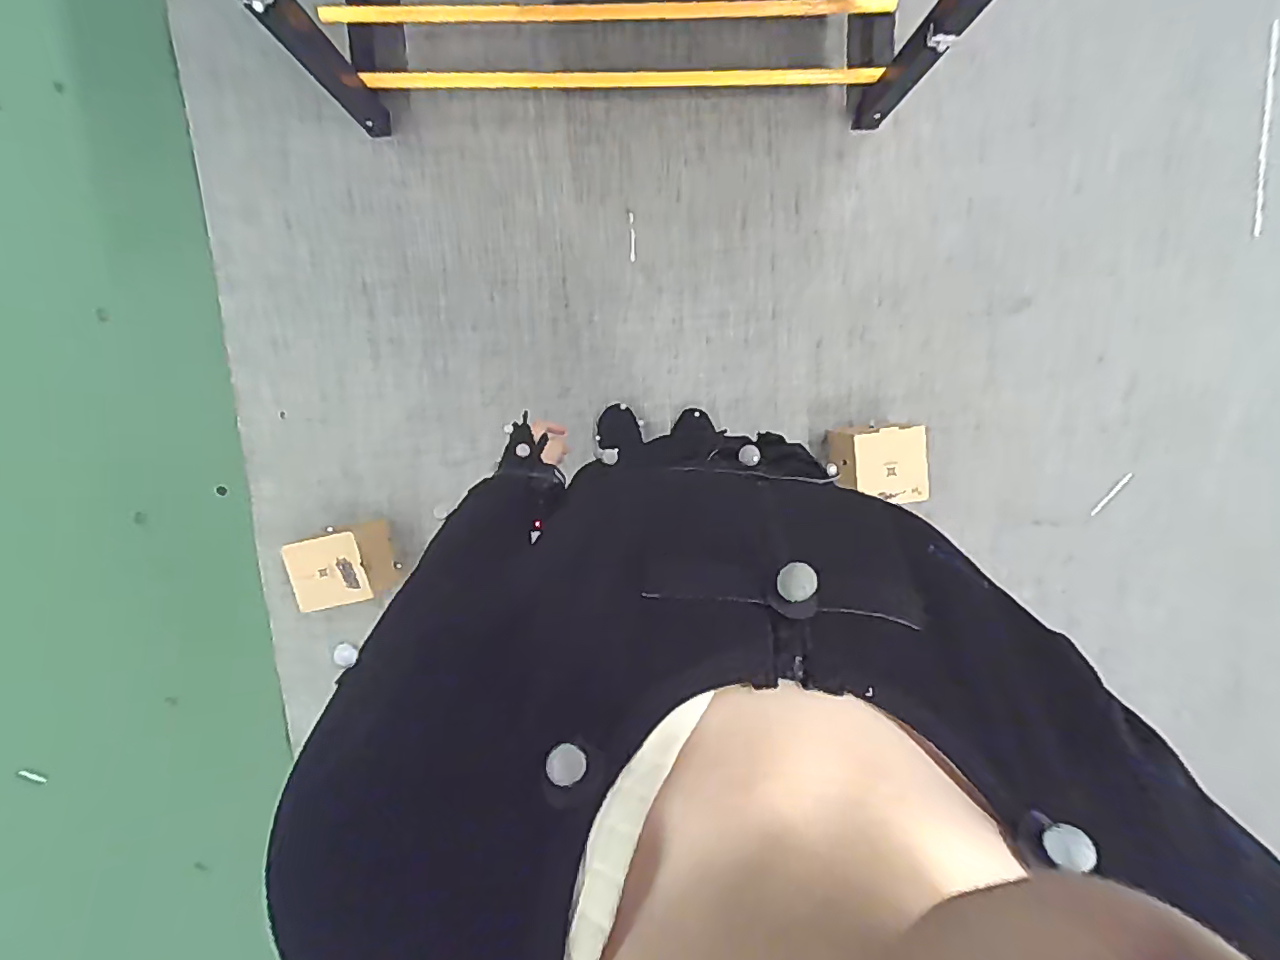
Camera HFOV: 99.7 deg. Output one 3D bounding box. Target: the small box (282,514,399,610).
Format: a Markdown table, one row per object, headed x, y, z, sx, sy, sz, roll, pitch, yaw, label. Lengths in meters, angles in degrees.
| x | y | z | sx | sy | sz | roll | pitch | yaw | label |
| --- | --- | --- | --- | --- | --- | --- | --- | --- | --- |
| -0.705 | 0.190 | 1.301 | 0.179 | 0.176 | 0.168 | -12 | 98 | 1 | small box |

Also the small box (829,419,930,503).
| x | y | z | sx | sy | sz | roll | pitch | yaw | label |
| --- | --- | --- | --- | --- | --- | --- | --- | --- | --- |
| 0.566 | -0.050 | 1.296 | 0.168 | 0.176 | 0.179 | -8 | 98 | 0 | small box |
